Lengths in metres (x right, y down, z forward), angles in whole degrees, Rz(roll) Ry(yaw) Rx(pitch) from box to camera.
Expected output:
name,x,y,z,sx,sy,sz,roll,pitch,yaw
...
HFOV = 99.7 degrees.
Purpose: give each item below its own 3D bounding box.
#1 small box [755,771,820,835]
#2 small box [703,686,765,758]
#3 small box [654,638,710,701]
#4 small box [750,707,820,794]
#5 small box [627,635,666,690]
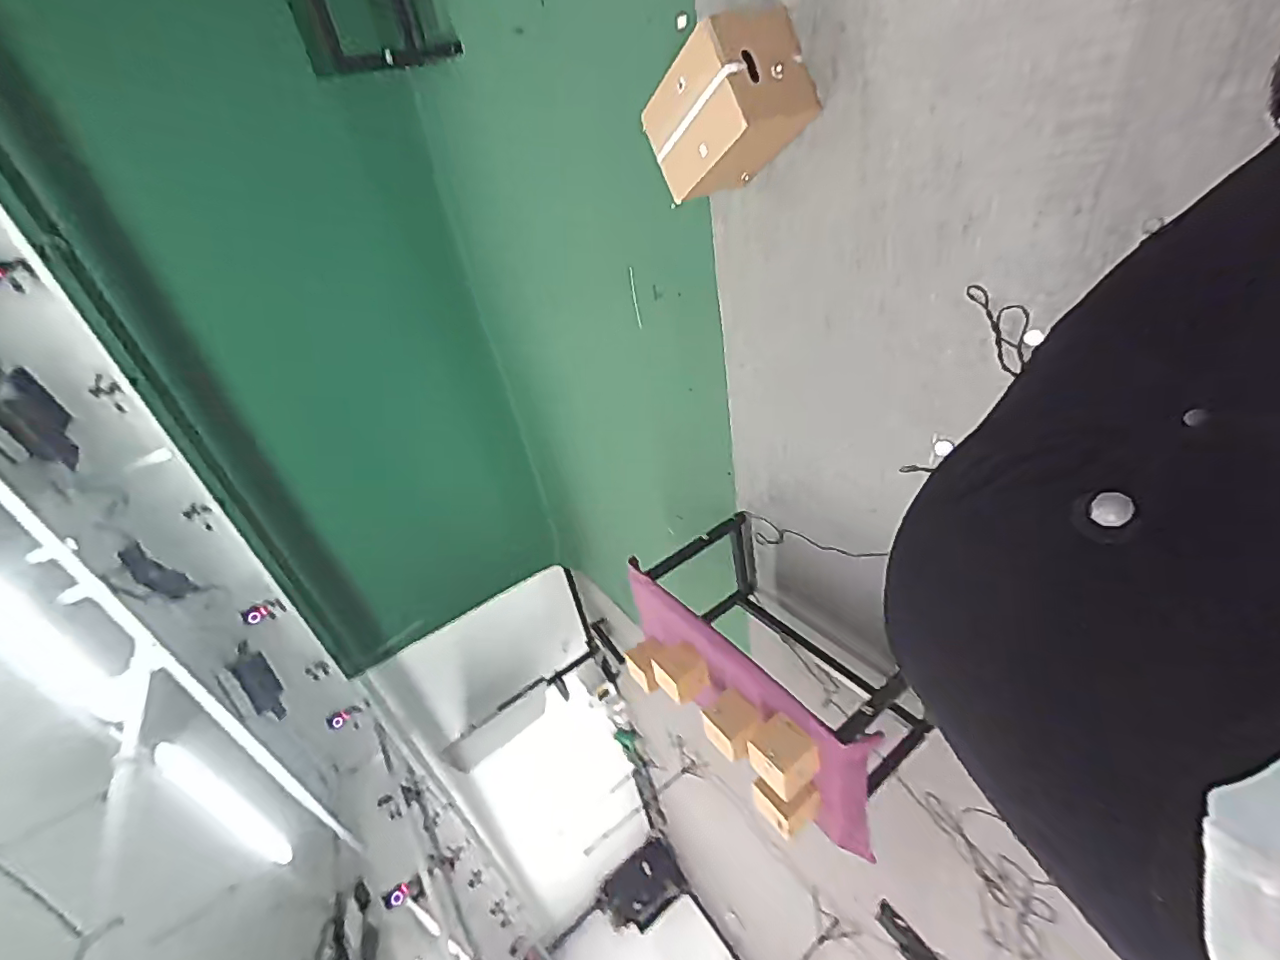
name,x,y,z,sx,sy,sz,roll,pitch,yaw
small box,0.560,1.178,2.044,0.179,0.176,0.168,33,143,48
small box,0.378,0.956,2.160,0.179,0.176,0.168,33,144,47
small box,0.188,0.829,2.398,0.179,0.176,0.168,32,142,46
small box,0.509,0.940,1.885,0.168,0.176,0.179,30,143,48
small box,0.059,0.908,2.720,0.179,0.176,0.168,32,142,45
